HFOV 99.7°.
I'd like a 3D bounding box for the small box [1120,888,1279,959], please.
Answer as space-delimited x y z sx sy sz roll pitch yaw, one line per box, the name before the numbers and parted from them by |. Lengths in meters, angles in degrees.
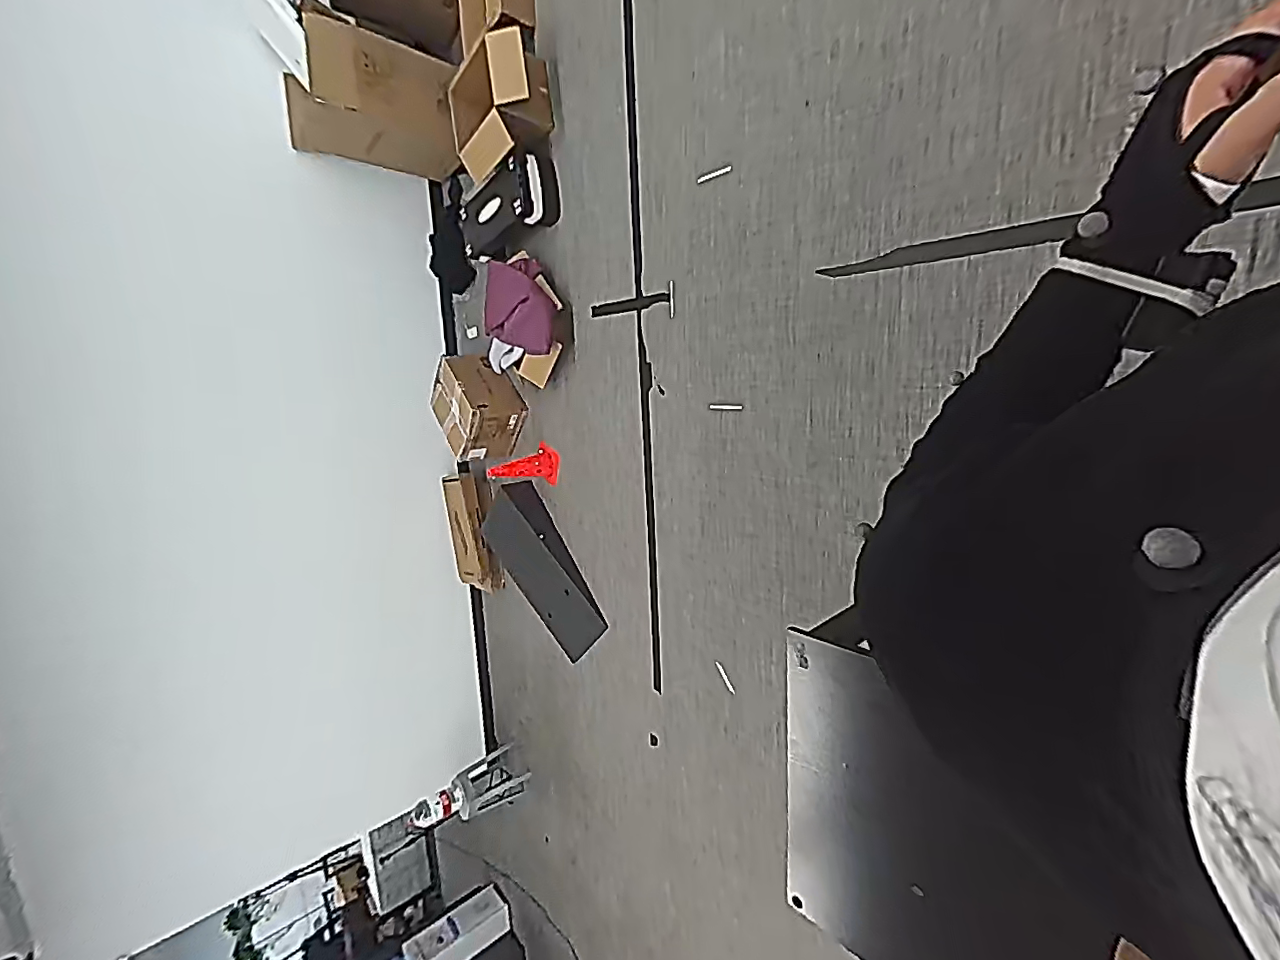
small box | 0.601 0.585 0.556 0.168 0.176 0.179 7 103 49
